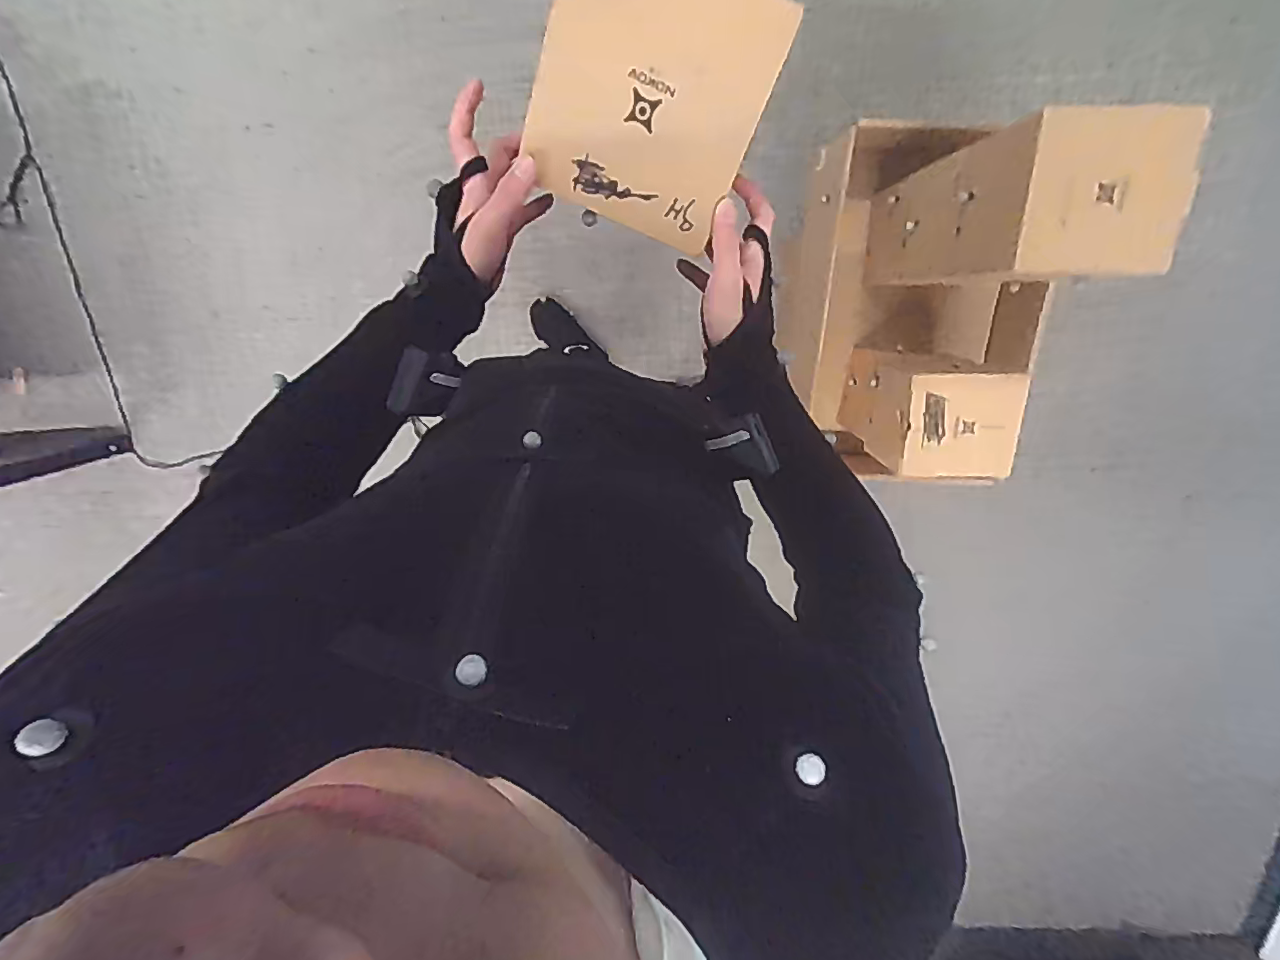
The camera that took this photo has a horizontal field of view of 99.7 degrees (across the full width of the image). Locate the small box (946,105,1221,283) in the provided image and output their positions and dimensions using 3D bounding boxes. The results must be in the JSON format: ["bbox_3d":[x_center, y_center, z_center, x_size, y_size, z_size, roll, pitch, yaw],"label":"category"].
[{"bbox_3d":[0.516,-0.334,0.661,0.179,0.176,0.168,1,107,1],"label":"small box"}]

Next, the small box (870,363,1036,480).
[{"bbox_3d":[0.507,-0.104,0.908,0.179,0.176,0.168,0,108,2],"label":"small box"}]

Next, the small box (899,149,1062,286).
[{"bbox_3d":[0.523,-0.385,0.815,0.179,0.176,0.168,1,107,2],"label":"small box"}]

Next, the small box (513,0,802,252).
[{"bbox_3d":[0.009,-0.325,0.463,0.168,0.176,0.179,20,121,-8],"label":"small box"}]

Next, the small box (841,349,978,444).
[{"bbox_3d":[0.521,-0.162,1.062,0.179,0.176,0.168,5,109,1],"label":"small box"}]
